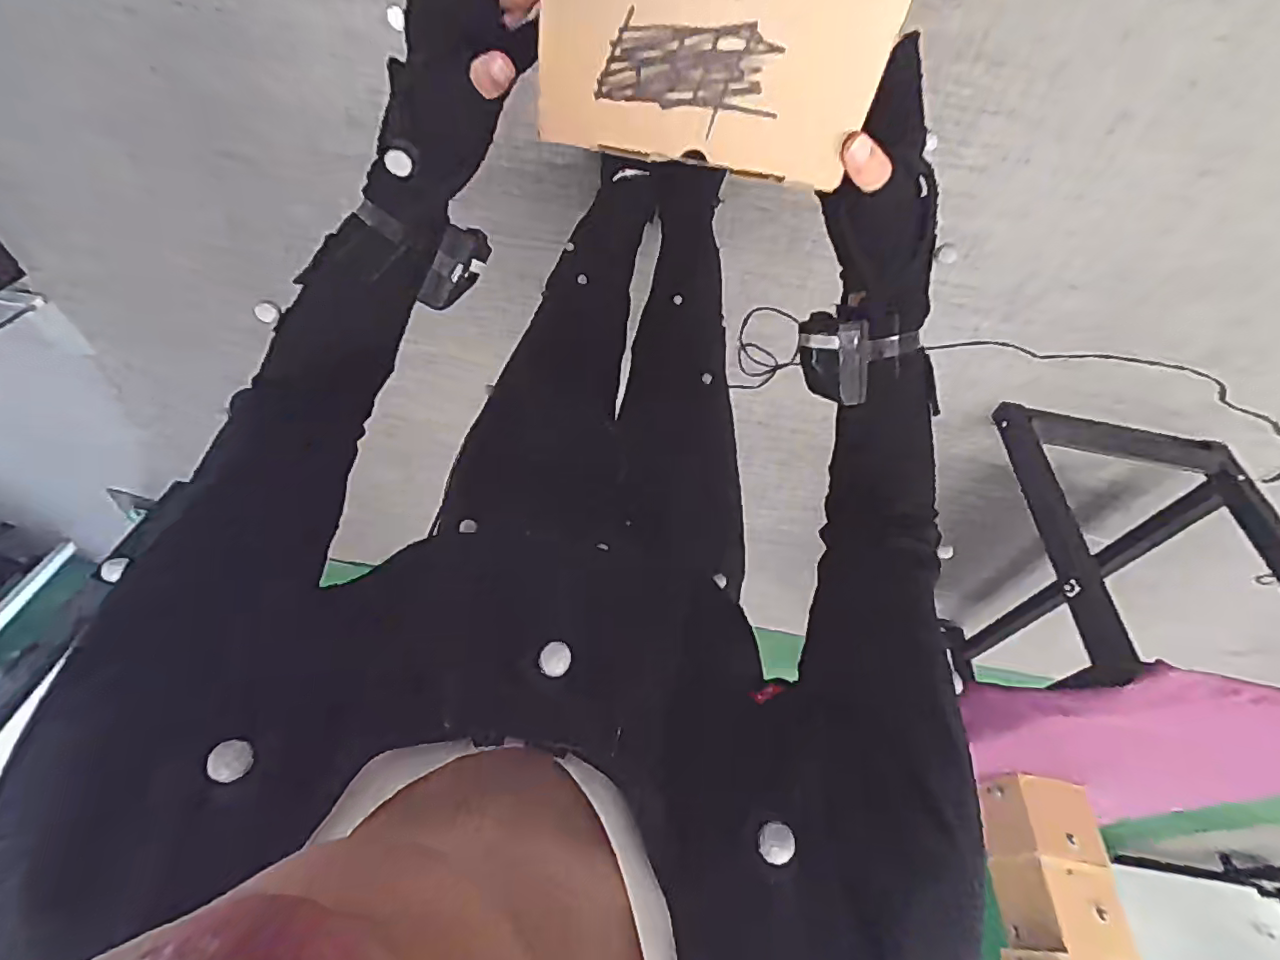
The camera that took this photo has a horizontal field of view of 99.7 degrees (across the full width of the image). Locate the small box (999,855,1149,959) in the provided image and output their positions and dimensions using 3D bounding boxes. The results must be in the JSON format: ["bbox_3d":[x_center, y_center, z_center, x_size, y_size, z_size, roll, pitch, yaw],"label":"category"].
[{"bbox_3d":[0.939,0.940,1.194,0.168,0.176,0.179,12,140,-3],"label":"small box"}]

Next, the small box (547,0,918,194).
[{"bbox_3d":[0.044,-0.284,0.287,0.168,0.176,0.179,5,135,-7],"label":"small box"}]

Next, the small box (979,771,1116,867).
[{"bbox_3d":[0.960,0.813,1.292,0.179,0.176,0.168,14,140,-3],"label":"small box"}]

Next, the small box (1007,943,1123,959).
[{"bbox_3d":[0.894,1.060,1.089,0.179,0.176,0.168,13,140,-5],"label":"small box"}]
